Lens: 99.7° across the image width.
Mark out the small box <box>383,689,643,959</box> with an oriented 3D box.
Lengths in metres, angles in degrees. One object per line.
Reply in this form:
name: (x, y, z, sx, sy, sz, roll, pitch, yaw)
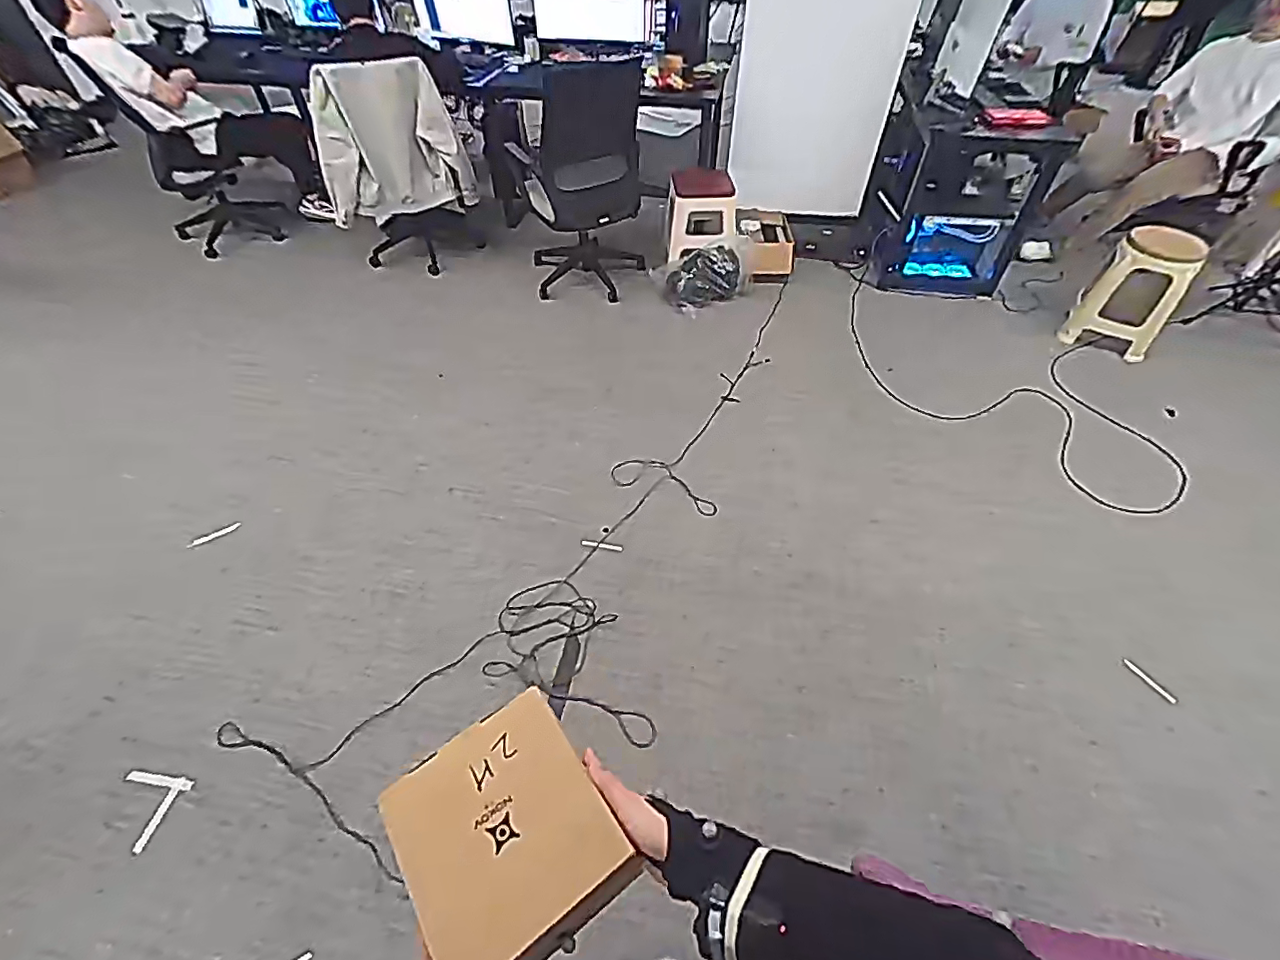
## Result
small box: (-0.110, 0.345, 0.524, 0.168, 0.176, 0.179, -31, 54, -20)
